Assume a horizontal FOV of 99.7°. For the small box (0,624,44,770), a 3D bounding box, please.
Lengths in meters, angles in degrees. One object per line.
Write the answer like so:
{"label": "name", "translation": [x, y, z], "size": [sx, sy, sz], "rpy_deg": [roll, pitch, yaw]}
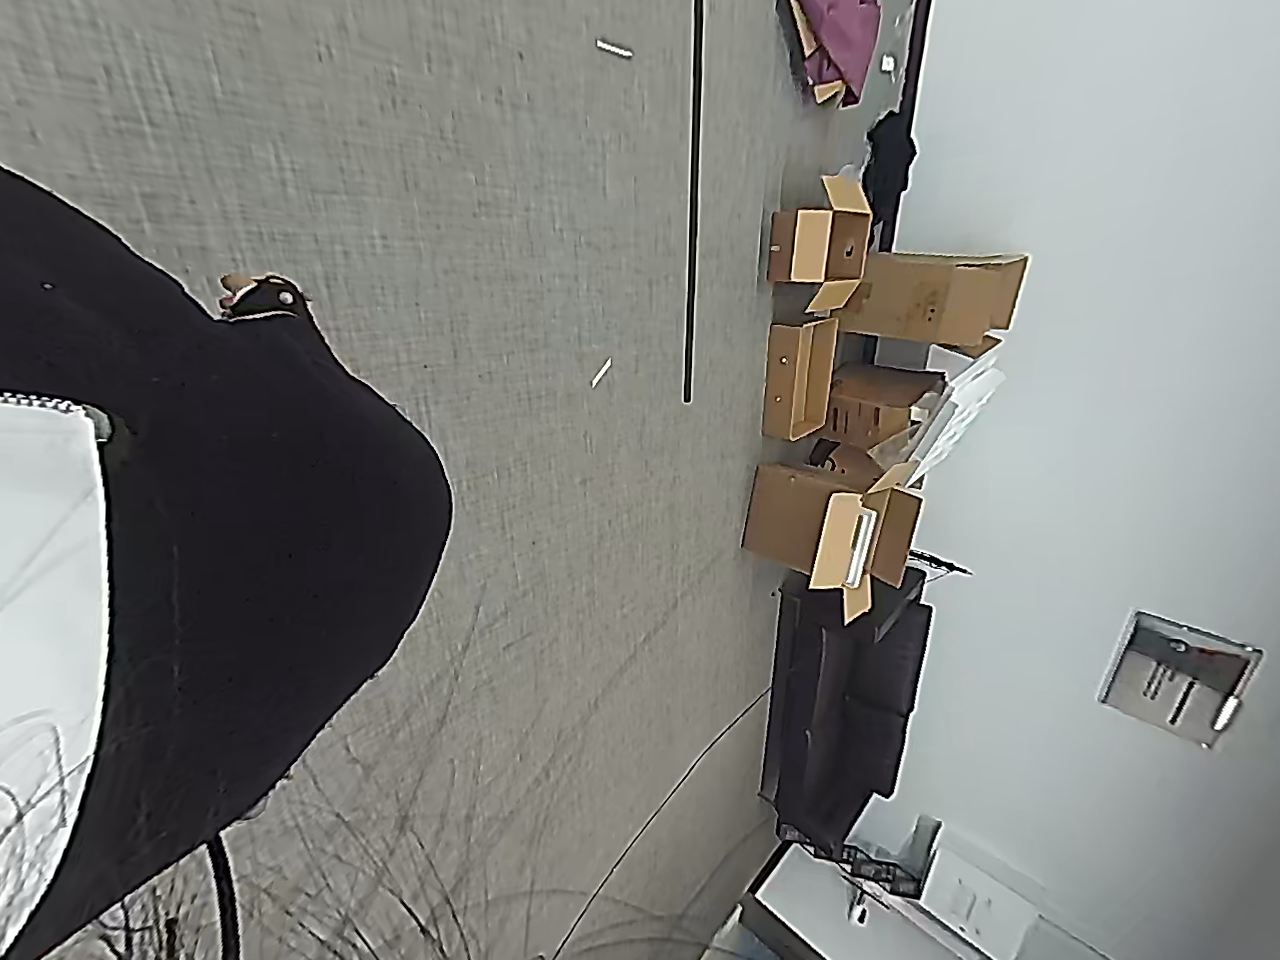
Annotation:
{"label": "small box", "translation": [-0.963, 0.311, 0.728], "size": [0.179, 0.176, 0.168], "rpy_deg": [-22, 121, -44]}
